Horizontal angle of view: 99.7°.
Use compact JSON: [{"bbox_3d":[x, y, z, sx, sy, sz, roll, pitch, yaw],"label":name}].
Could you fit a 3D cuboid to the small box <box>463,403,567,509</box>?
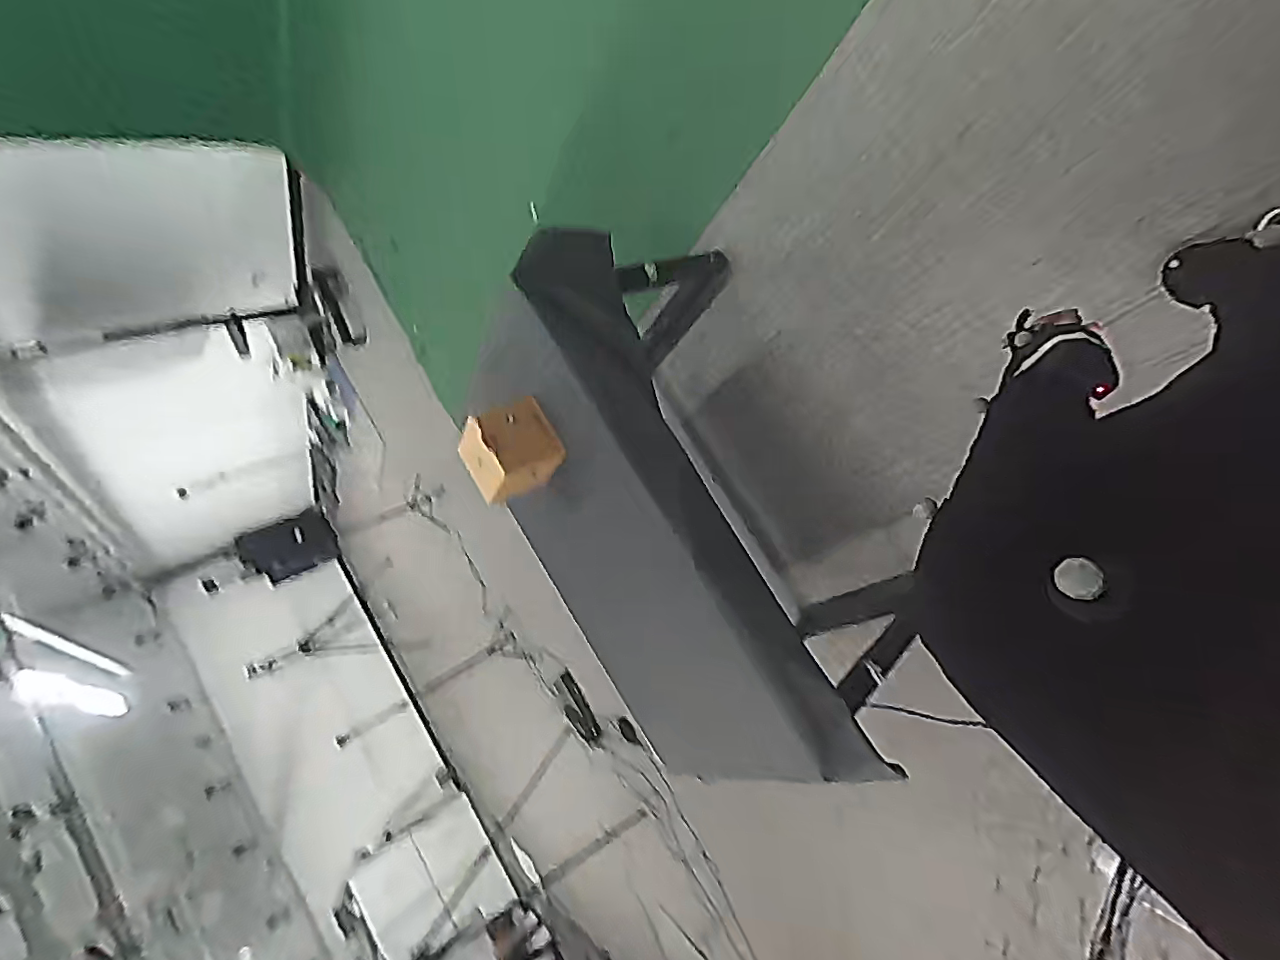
[{"bbox_3d":[-0.298,-0.061,1.298,0.168,0.176,0.179,58,145,10],"label":"small box"}]
